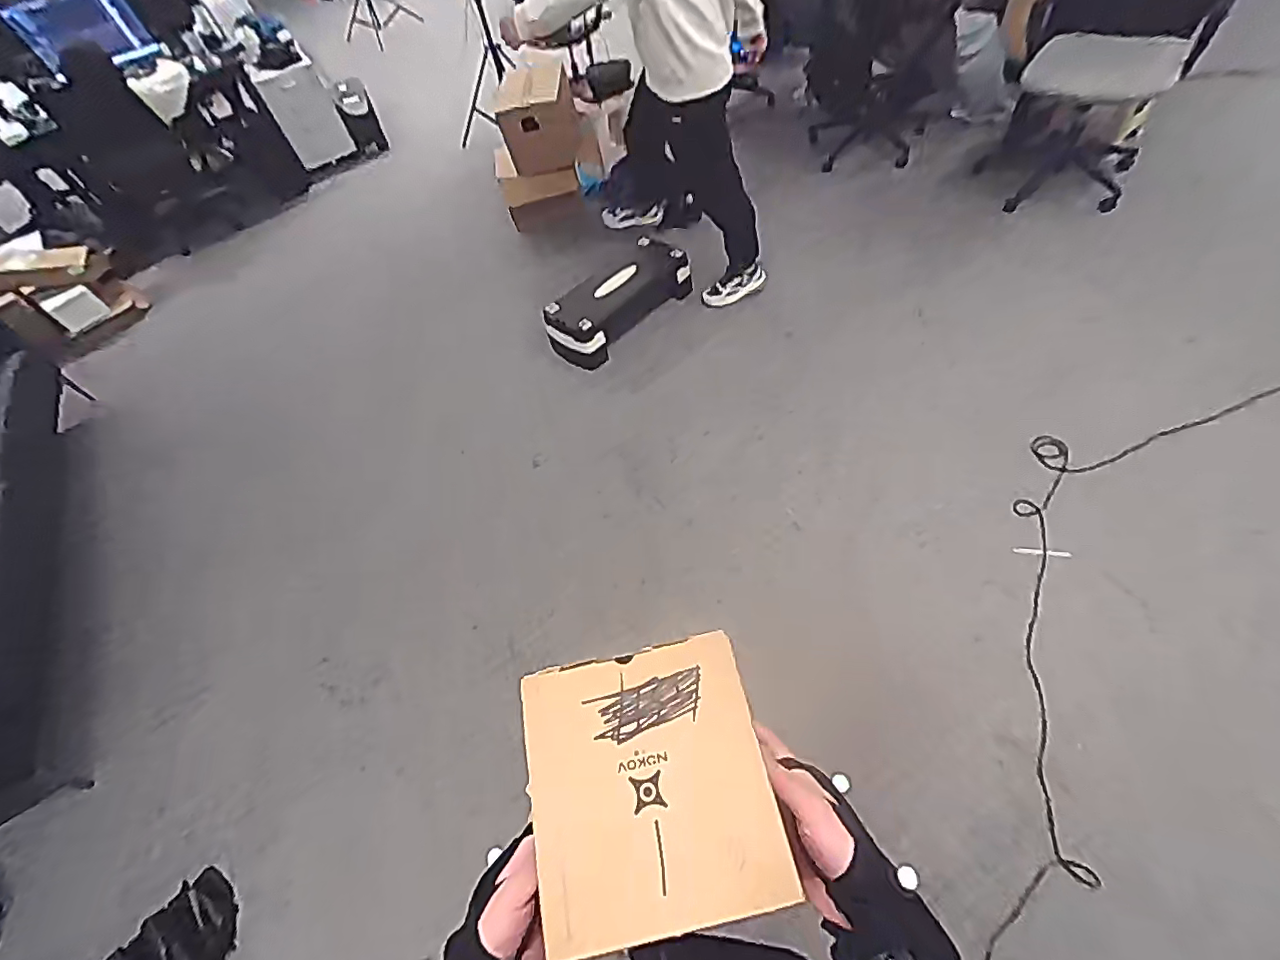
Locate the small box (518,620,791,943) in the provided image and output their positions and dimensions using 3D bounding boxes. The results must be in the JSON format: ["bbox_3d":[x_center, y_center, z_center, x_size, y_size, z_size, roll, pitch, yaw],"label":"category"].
[{"bbox_3d":[0.007,0.238,0.449,0.168,0.176,0.179,-13,60,-1],"label":"small box"}]
